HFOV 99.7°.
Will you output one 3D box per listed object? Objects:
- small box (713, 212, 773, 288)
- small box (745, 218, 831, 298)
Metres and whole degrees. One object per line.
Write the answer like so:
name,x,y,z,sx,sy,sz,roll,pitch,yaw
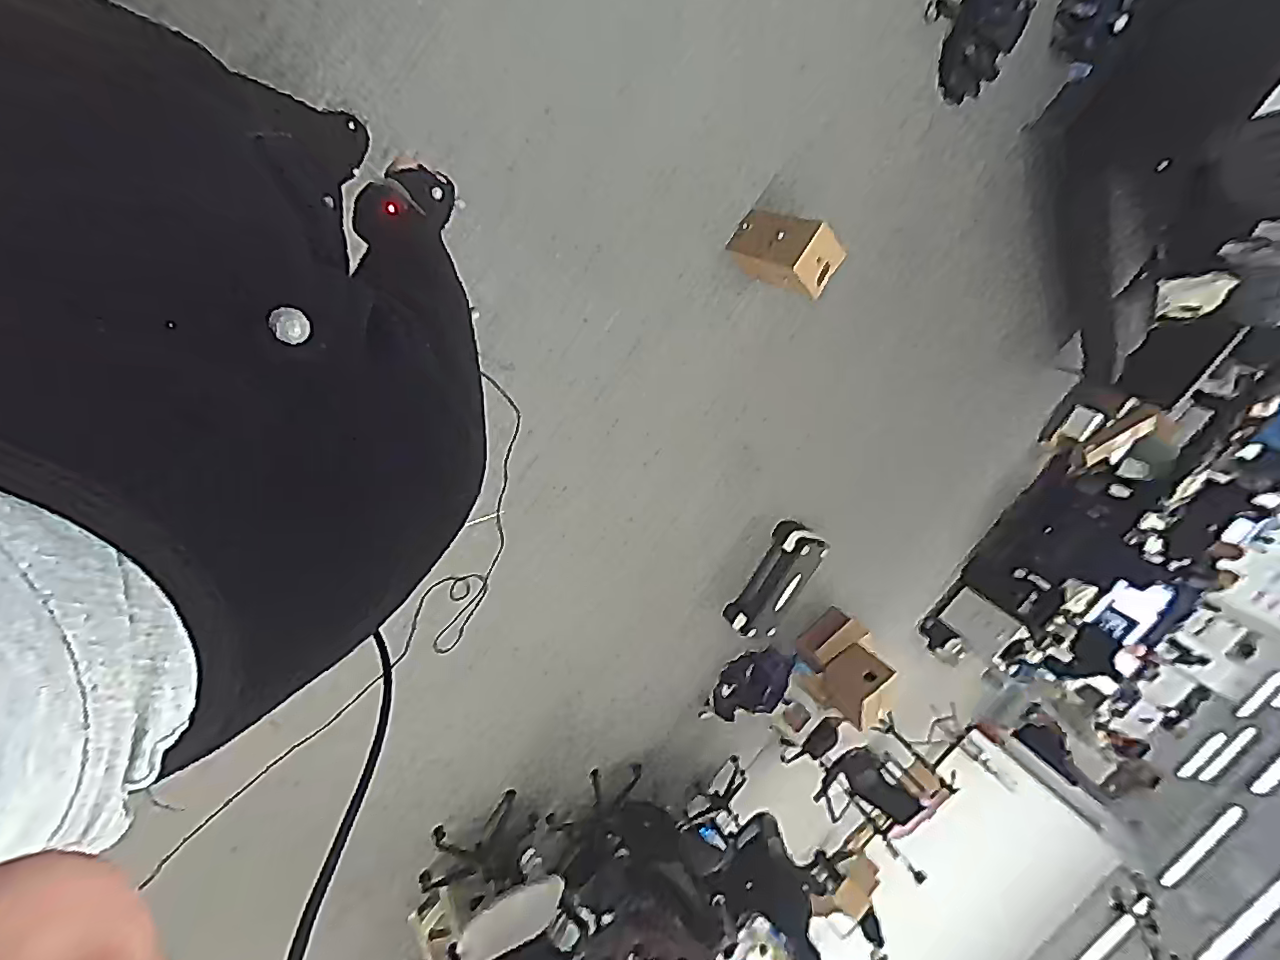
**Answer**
small box,0.391,-0.801,1.873,0.179,0.176,0.168,25,101,-44
small box,0.478,-0.725,1.756,0.179,0.176,0.168,25,102,-45
